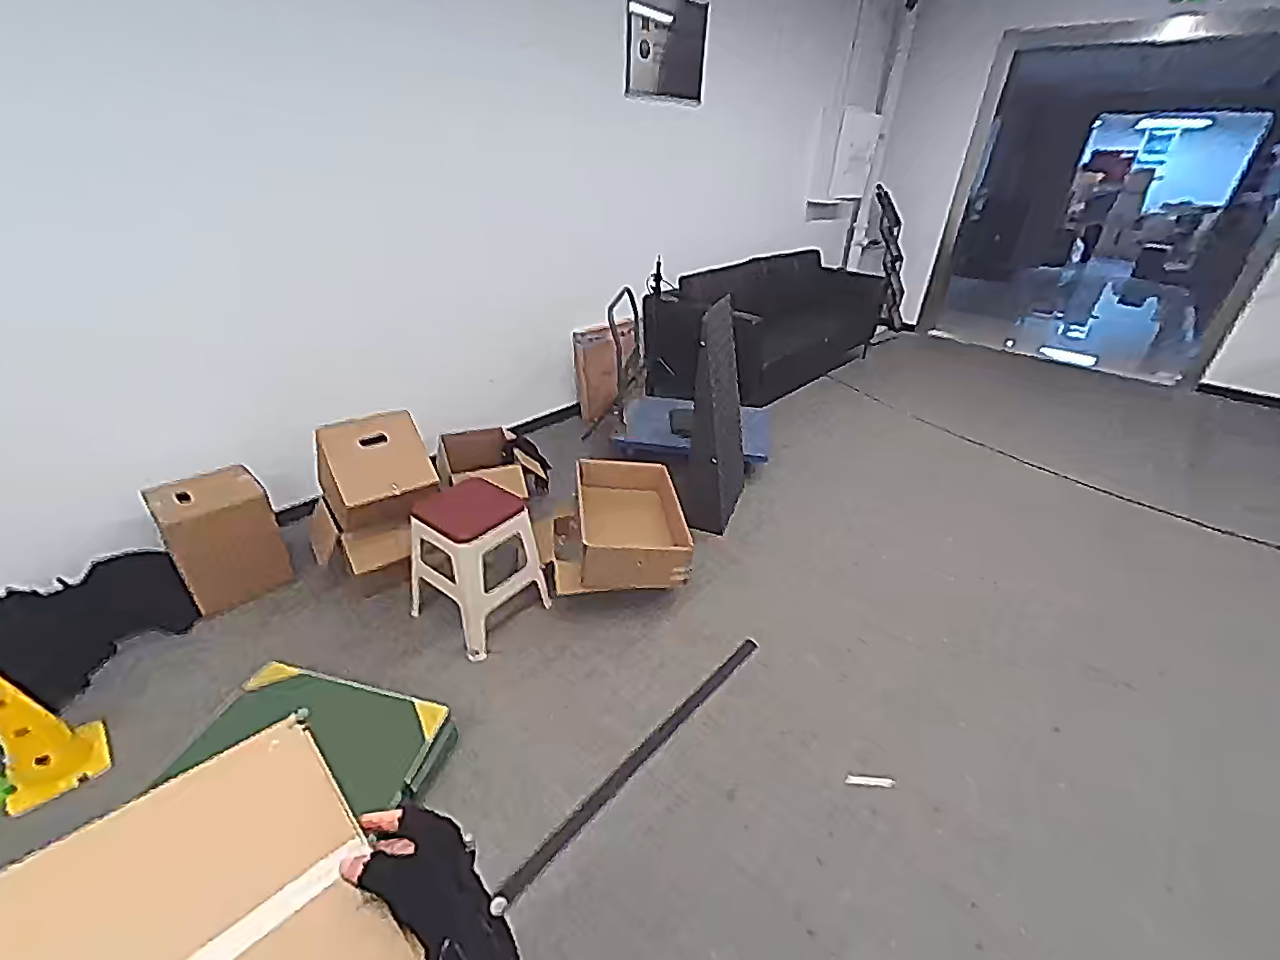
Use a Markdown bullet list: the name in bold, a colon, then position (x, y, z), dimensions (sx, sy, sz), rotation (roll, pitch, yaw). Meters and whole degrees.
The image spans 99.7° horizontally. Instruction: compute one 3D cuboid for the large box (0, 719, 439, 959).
- **large box**: position (-0.405, 0.500, 0.429), dimensions (0.320, 0.320, 0.408), rotation (37, 40, 28)
